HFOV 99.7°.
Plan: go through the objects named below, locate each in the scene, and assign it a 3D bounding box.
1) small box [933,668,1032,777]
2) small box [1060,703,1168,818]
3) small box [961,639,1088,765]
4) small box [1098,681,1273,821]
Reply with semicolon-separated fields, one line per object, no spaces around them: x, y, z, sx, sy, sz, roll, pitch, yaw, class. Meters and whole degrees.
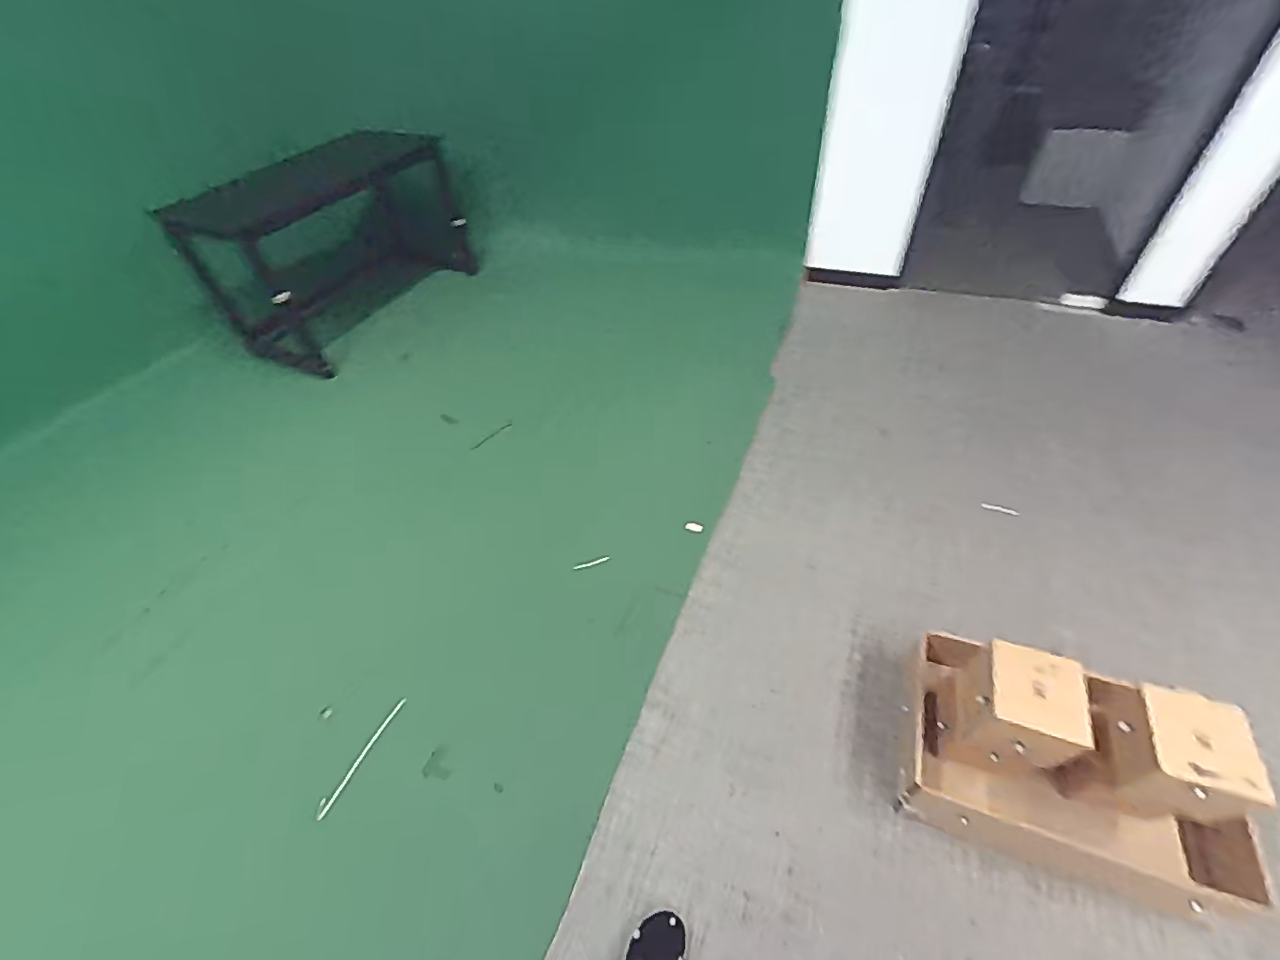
0.805;0.573;1.270;0.179;0.176;0.168;11;51;13;small box
1.061;0.623;1.197;0.179;0.176;0.168;9;50;13;small box
0.799;0.472;1.141;0.168;0.176;0.179;14;52;16;small box
1.046;0.532;1.061;0.168;0.176;0.179;12;50;17;small box
